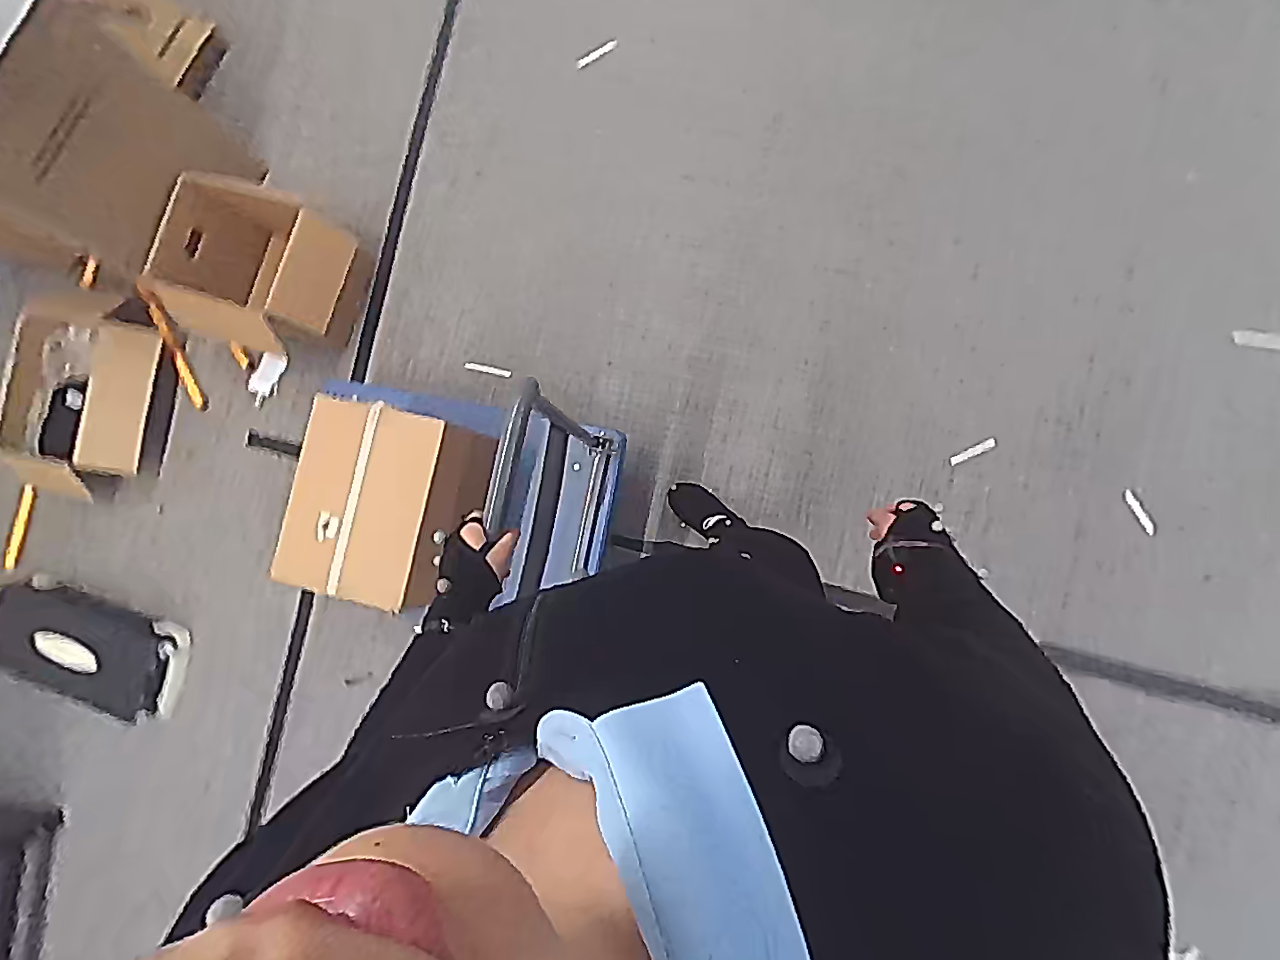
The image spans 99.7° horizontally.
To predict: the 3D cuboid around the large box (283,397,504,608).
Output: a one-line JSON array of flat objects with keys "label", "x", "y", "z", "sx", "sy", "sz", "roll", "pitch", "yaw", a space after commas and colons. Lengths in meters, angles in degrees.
[{"label": "large box", "x": -0.557, "y": 0.049, "z": 1.283, "sx": 0.320, "sy": 0.320, "sz": 0.408, "roll": 12, "pitch": 88, "yaw": 11}]
